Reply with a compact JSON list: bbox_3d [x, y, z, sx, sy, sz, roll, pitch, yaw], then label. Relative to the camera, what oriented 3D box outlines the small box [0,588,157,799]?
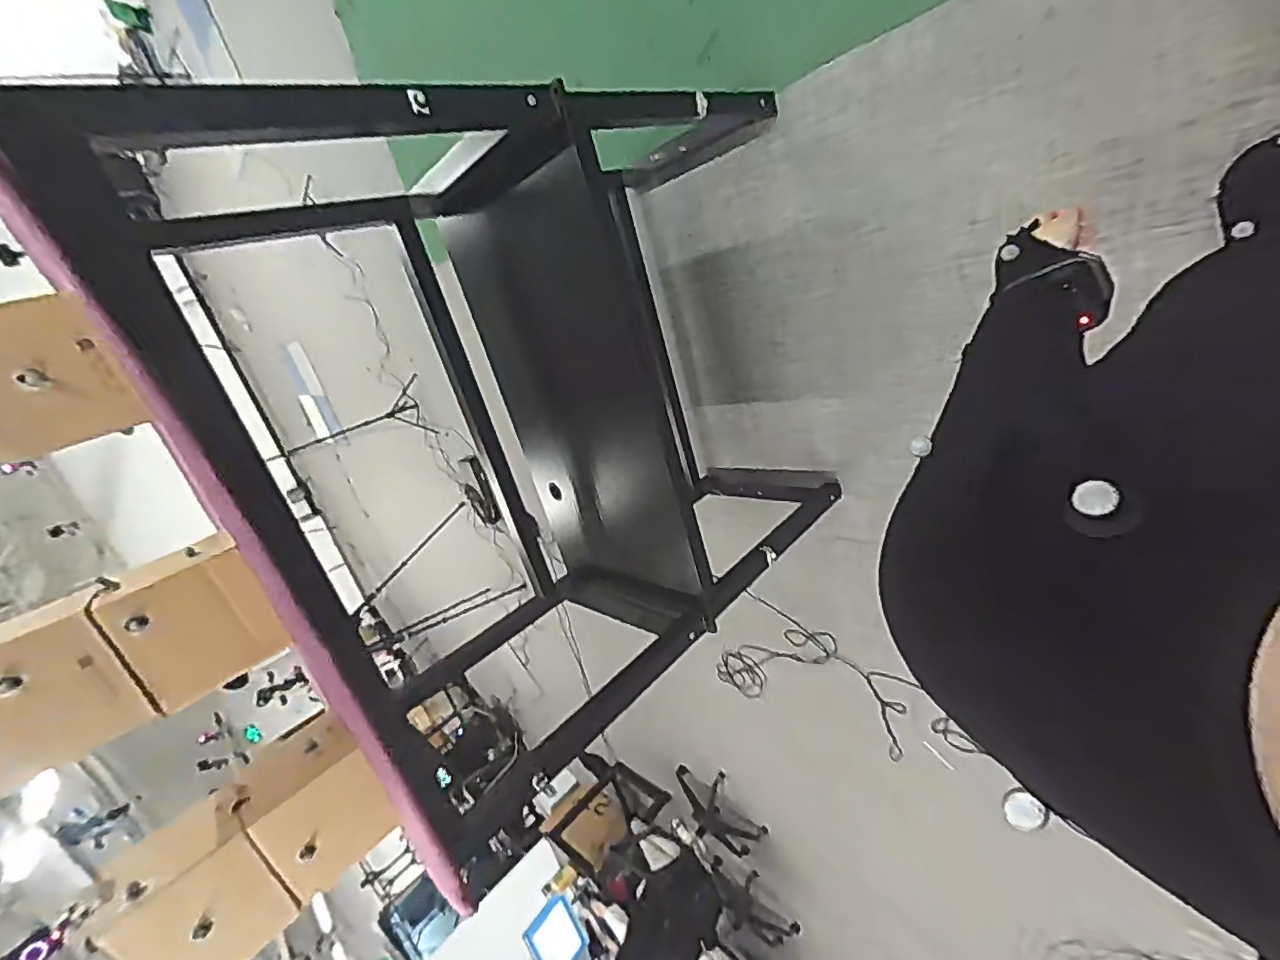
[{"bbox_3d":[-0.757,0.259,0.696,0.179,0.176,0.168,3,115,51],"label":"small box"}]

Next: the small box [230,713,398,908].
[{"bbox_3d":[-0.531,0.529,0.891,0.168,0.176,0.179,3,117,47],"label":"small box"}]

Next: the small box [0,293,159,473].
[{"bbox_3d":[-0.747,-0.128,0.676,0.179,0.176,0.168,15,127,45],"label":"small box"}]

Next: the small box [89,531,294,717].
[{"bbox_3d":[-0.642,0.198,0.793,0.168,0.176,0.179,6,119,49],"label":"small box"}]
